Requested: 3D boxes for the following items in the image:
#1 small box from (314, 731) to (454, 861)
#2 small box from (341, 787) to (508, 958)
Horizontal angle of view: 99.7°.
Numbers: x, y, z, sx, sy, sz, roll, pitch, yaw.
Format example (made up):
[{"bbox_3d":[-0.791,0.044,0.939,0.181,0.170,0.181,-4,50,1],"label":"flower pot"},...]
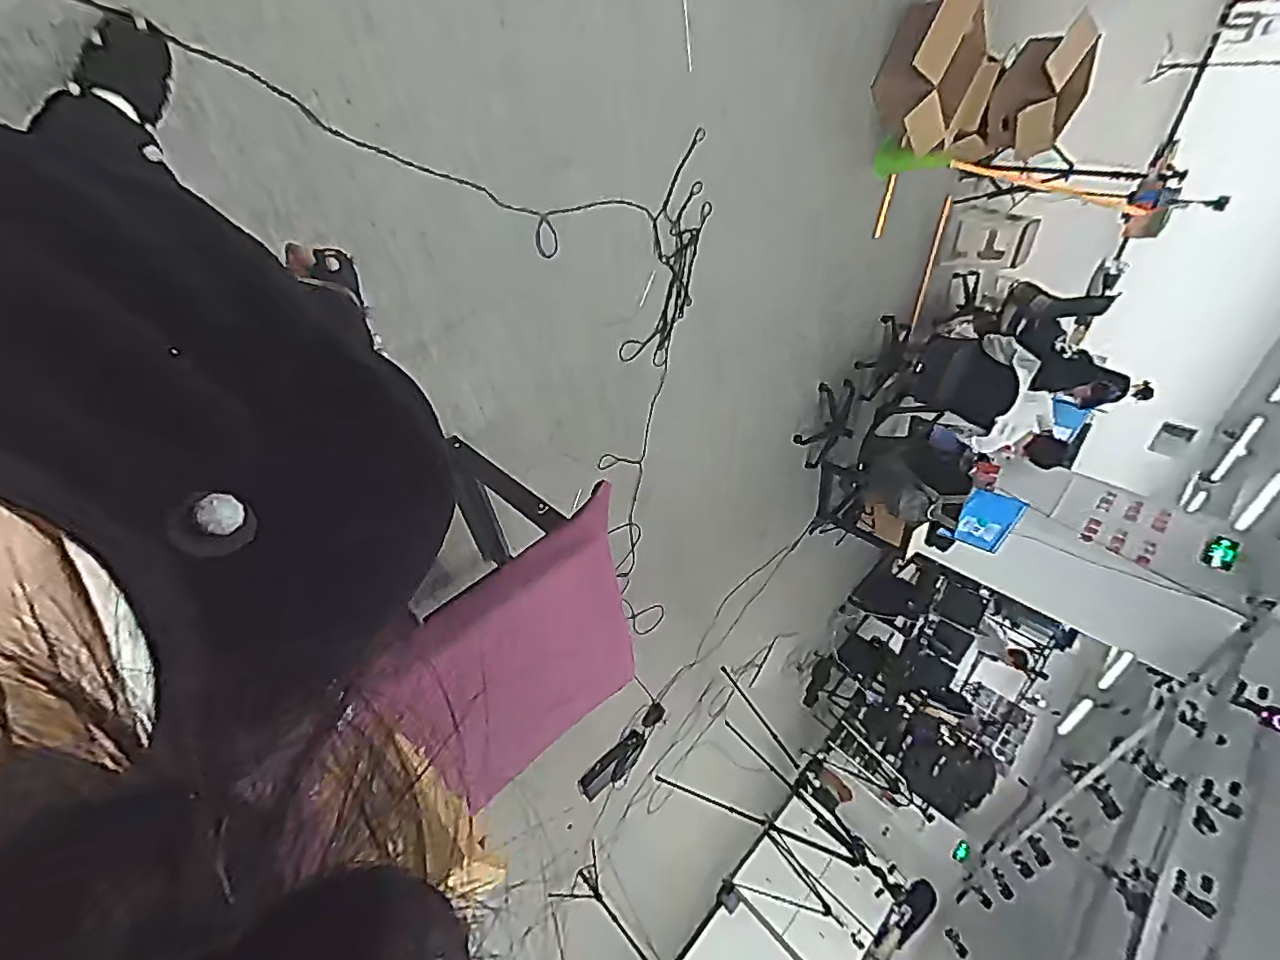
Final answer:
[{"bbox_3d":[-0.483,0.619,1.037,0.168,0.176,0.179,-39,139,-25],"label":"small box"},{"bbox_3d":[-0.366,0.666,0.927,0.168,0.176,0.179,-44,141,-21],"label":"small box"}]
